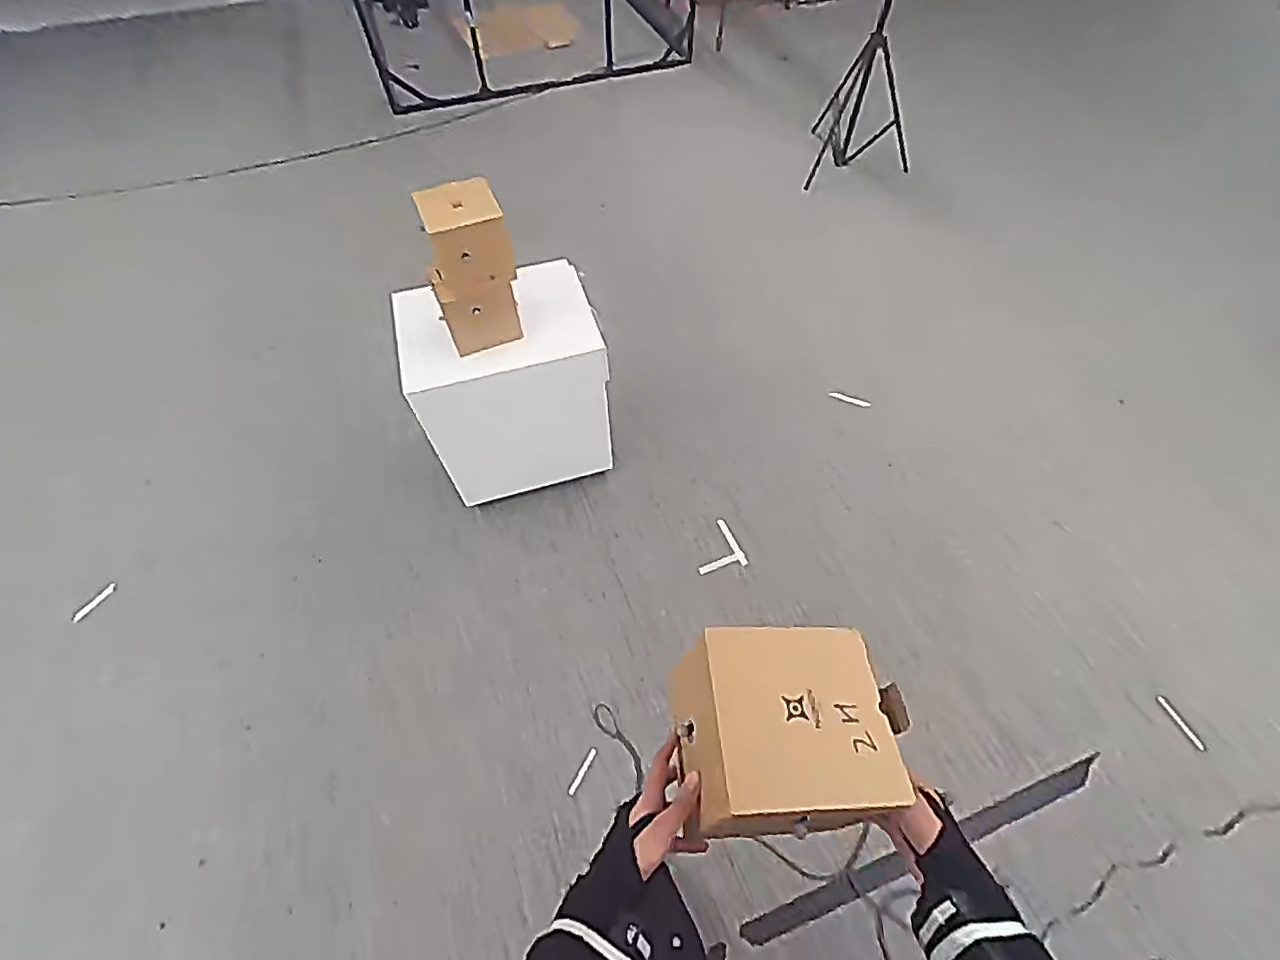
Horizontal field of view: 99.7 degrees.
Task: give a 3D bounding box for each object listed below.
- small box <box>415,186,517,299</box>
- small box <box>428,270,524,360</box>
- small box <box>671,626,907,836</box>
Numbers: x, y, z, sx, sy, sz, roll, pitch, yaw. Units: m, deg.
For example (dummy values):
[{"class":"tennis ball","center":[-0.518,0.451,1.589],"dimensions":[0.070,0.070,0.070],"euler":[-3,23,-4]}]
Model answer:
[{"class":"small box","center":[-0.399,-0.546,1.262],"dimensions":[0.168,0.176,0.179],"euler":[-21,58,-13]},{"class":"small box","center":[-0.415,-0.435,1.384],"dimensions":[0.179,0.176,0.168],"euler":[-21,59,-14]},{"class":"small box","center":[0.134,0.267,0.573],"dimensions":[0.179,0.176,0.168],"euler":[3,51,-10]}]
